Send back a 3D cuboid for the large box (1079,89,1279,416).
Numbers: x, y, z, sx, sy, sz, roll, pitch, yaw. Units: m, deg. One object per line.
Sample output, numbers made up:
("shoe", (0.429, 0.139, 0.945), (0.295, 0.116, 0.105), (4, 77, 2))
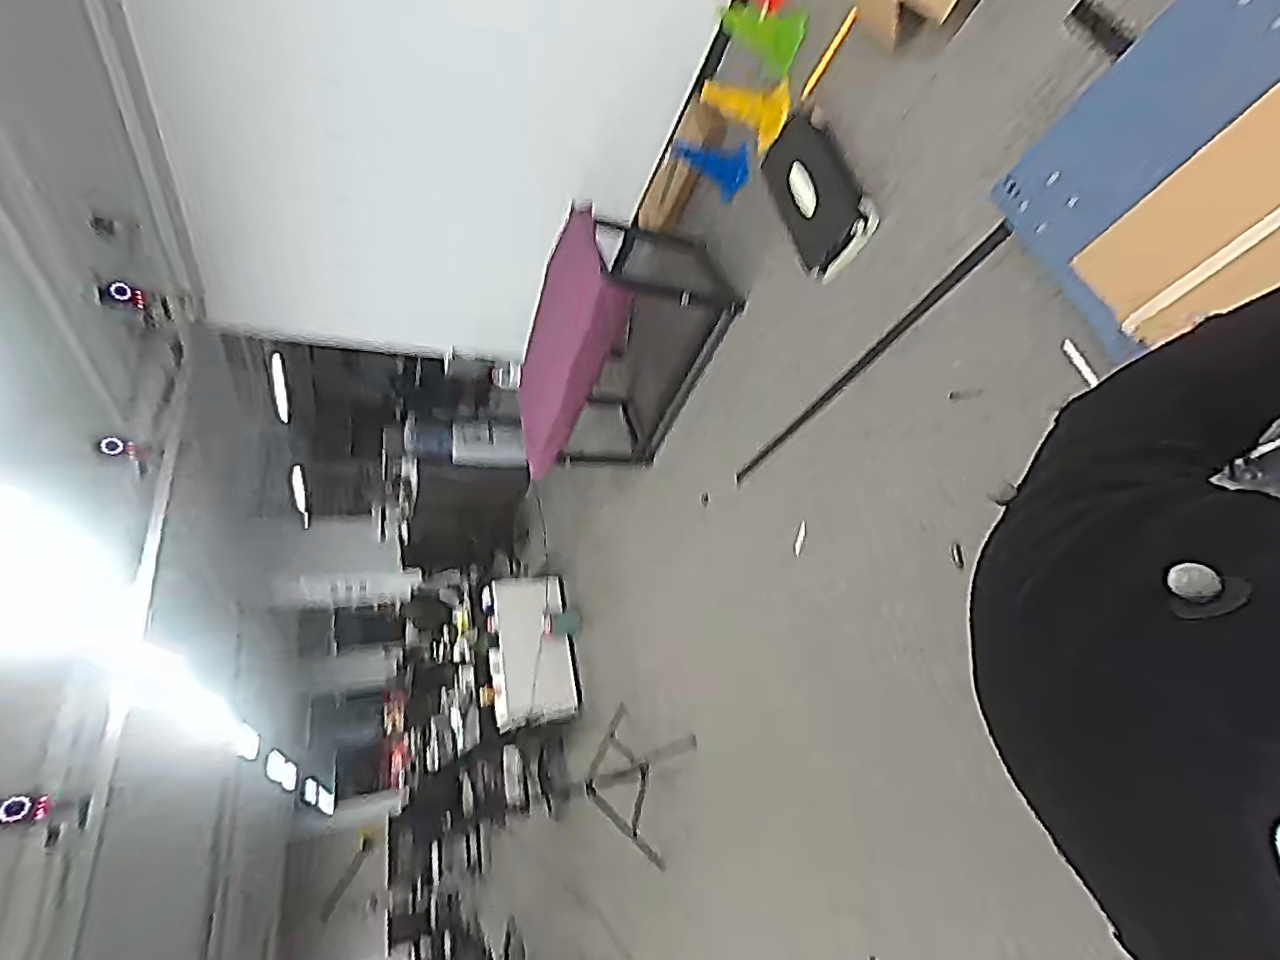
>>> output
("large box", (0.997, -0.347, 0.781), (0.408, 0.320, 0.320), (-54, 44, 46))
